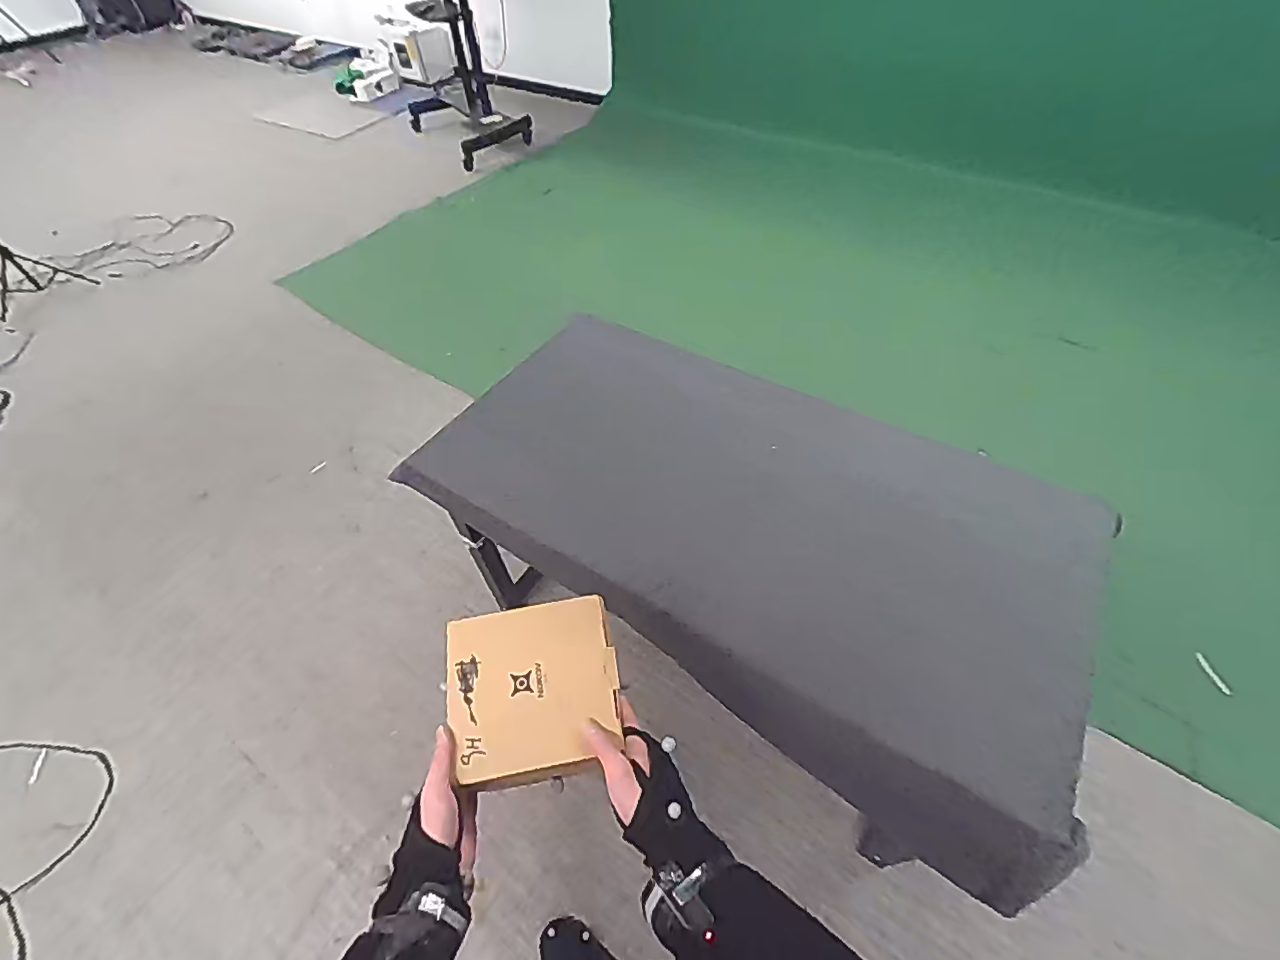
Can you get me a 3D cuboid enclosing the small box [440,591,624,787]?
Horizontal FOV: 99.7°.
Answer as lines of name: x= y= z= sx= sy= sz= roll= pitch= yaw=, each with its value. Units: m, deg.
small box: x=-0.116 y=0.243 z=0.620 sx=0.179 sy=0.176 sz=0.168 roll=-7 pitch=58 yaw=-6
